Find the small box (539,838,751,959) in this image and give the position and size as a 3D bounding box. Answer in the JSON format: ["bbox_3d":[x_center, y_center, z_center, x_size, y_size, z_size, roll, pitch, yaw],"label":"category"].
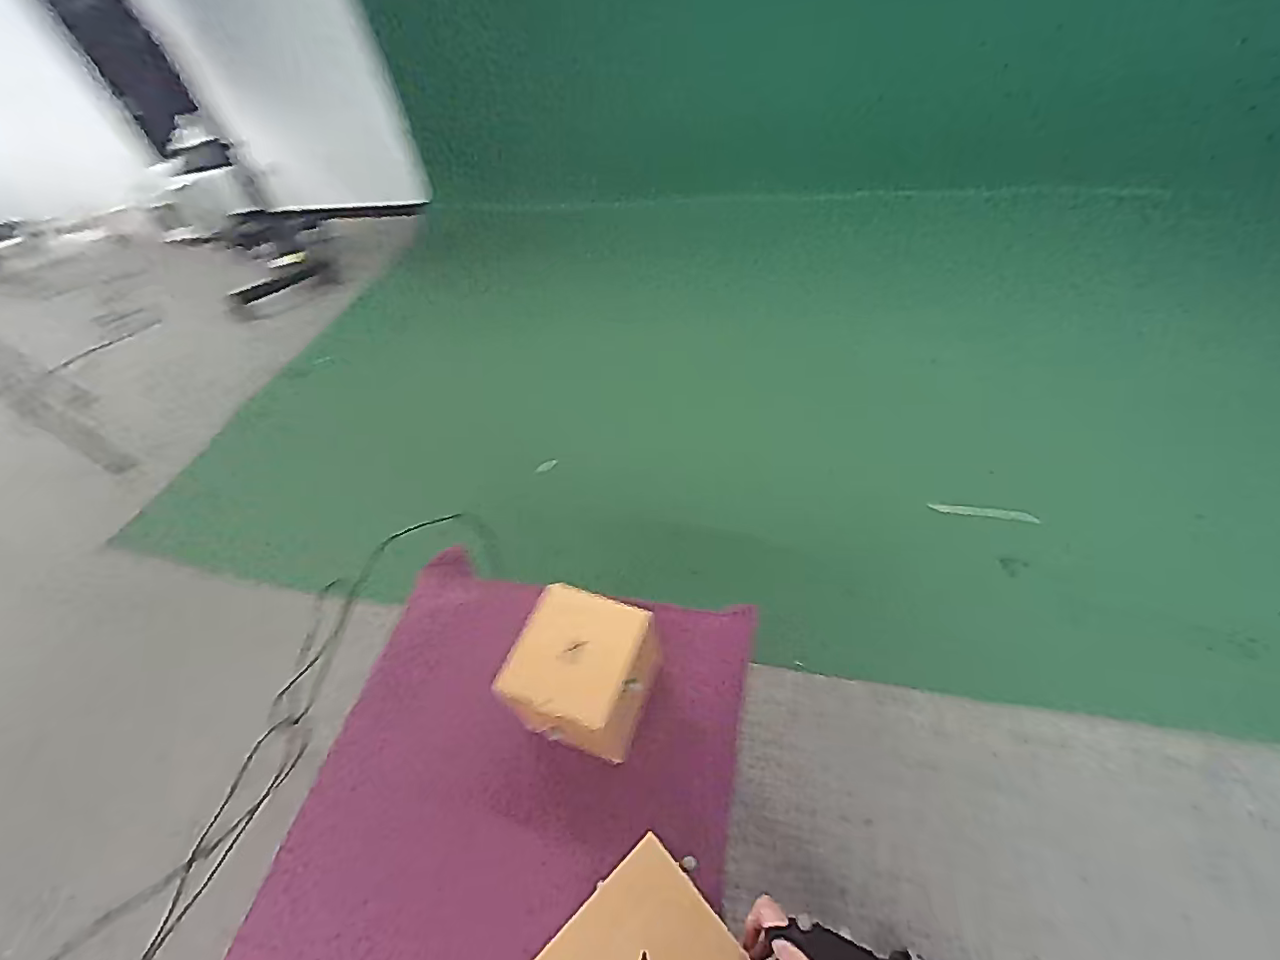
[{"bbox_3d":[0.020,0.512,0.547,0.168,0.176,0.179,-37,56,-21],"label":"small box"}]

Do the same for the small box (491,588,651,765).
[{"bbox_3d":[-0.089,0.296,0.815,0.168,0.176,0.179,12,54,19],"label":"small box"}]
